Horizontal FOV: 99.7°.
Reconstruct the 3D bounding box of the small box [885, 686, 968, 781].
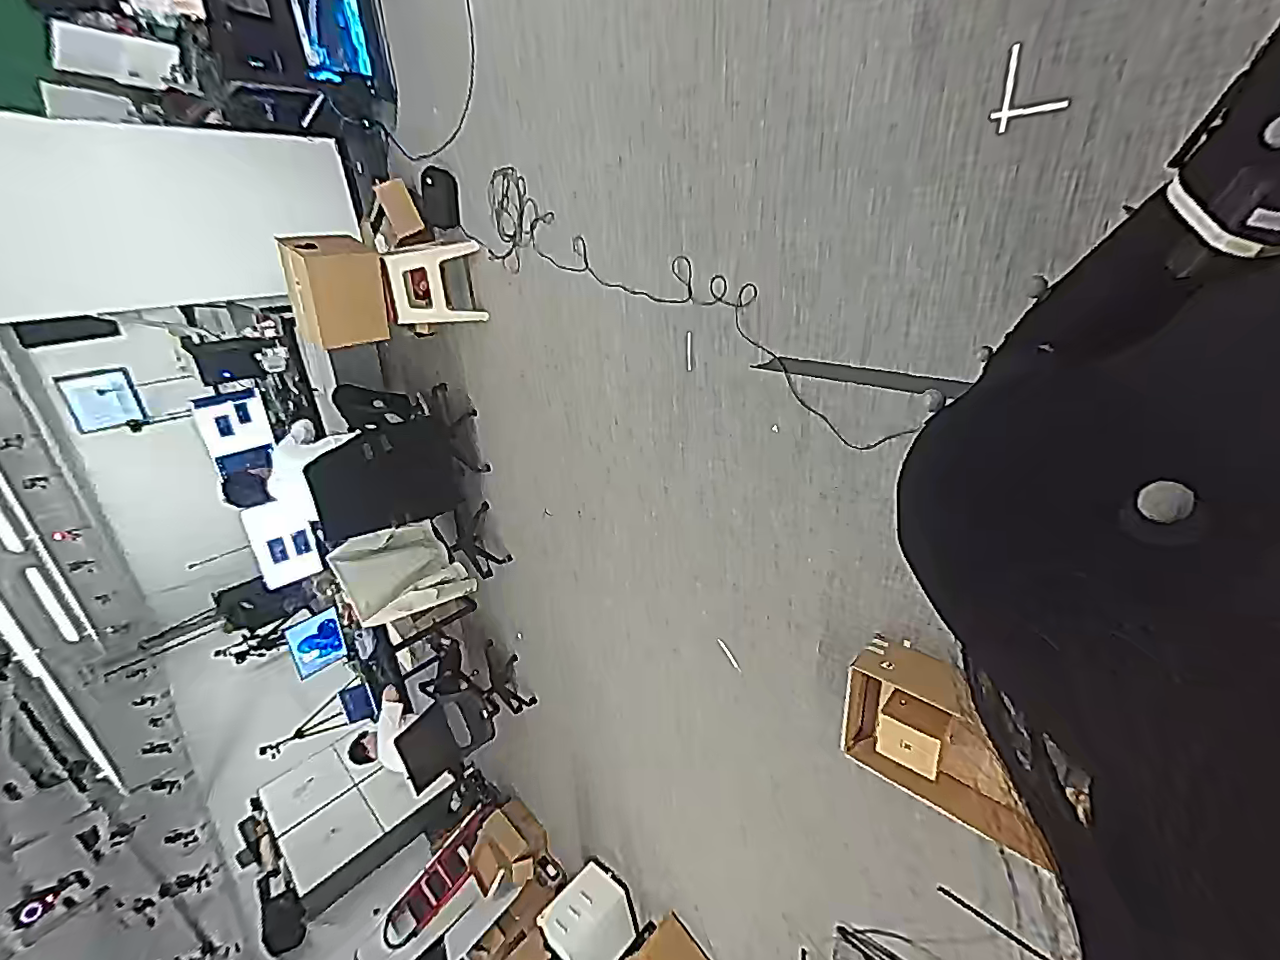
[{"bbox_3d":[0.877,0.764,1.657,0.179,0.176,0.168,14,120,42],"label":"small box"}]
